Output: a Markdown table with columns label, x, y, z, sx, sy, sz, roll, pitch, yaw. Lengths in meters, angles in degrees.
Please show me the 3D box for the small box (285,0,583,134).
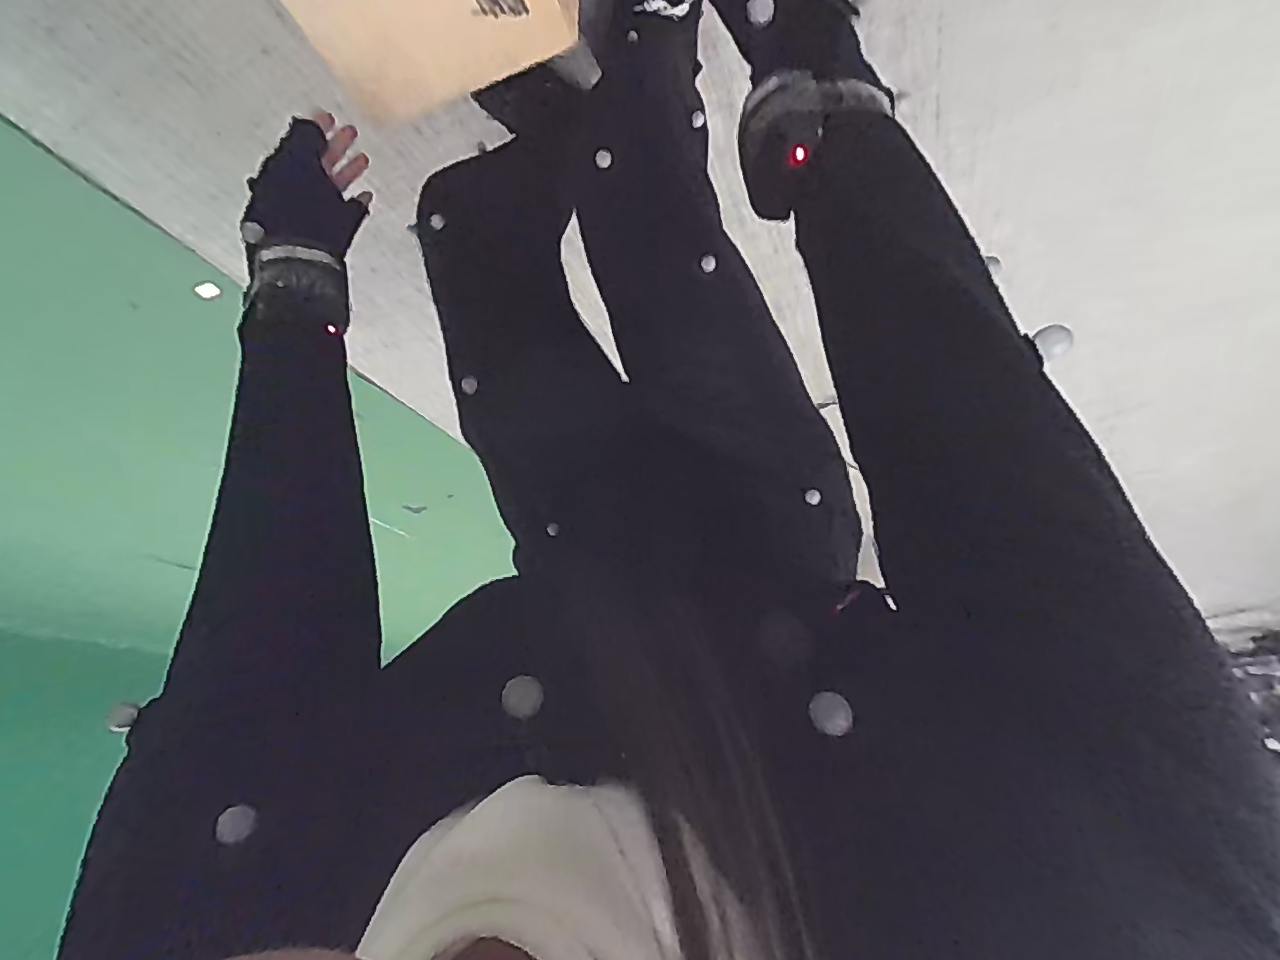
| label | x | y | z | sx | sy | sz | roll | pitch | yaw |
| --- | --- | --- | --- | --- | --- | --- | --- | --- | --- |
| small box | -0.151 | -0.396 | 0.378 | 0.179 | 0.176 | 0.168 | -11 | 149 | 15 |
